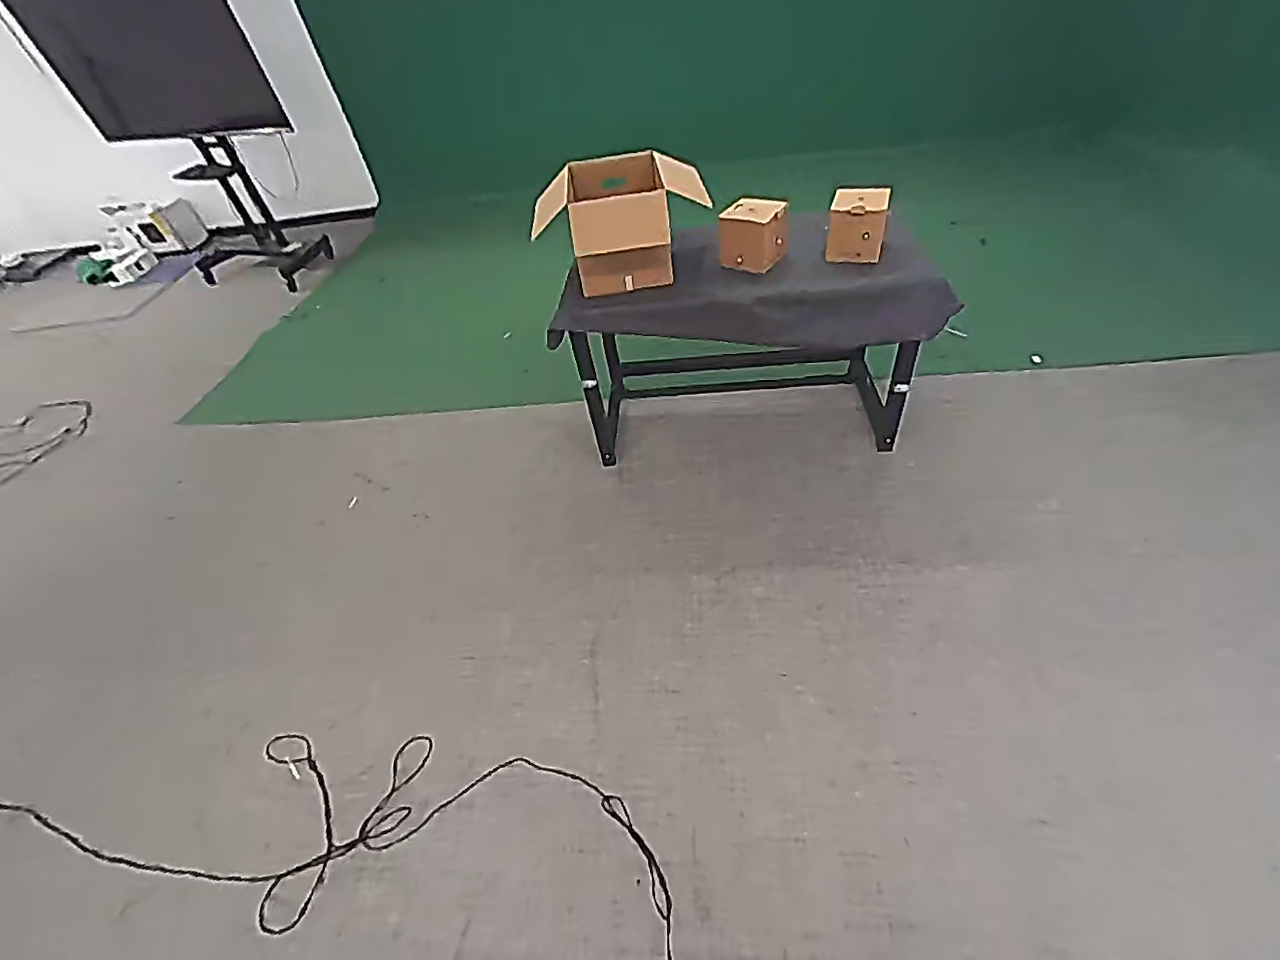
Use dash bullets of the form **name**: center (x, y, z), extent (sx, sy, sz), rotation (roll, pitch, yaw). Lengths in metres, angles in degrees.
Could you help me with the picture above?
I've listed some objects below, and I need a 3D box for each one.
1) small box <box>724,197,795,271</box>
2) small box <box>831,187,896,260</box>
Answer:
- **small box**: center (0.400, -0.826, 1.820), extent (0.179, 0.176, 0.168), rotation (25, 56, 30)
- **small box**: center (0.726, -0.836, 1.764), extent (0.168, 0.176, 0.179), rotation (11, 49, 19)
